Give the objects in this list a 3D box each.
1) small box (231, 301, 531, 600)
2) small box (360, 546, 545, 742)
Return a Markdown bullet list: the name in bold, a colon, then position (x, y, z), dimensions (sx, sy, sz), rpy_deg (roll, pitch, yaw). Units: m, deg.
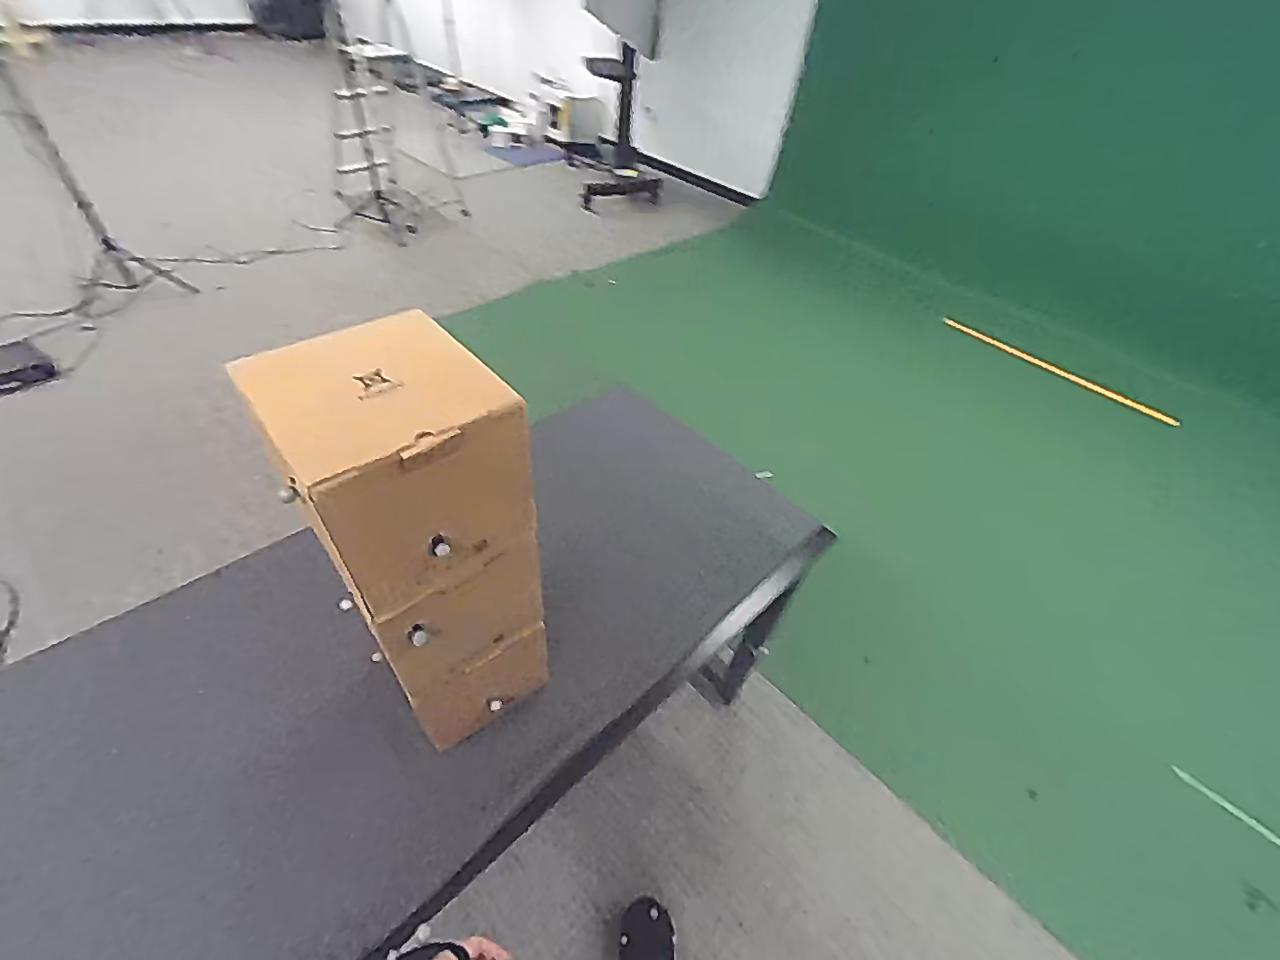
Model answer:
- **small box**: position (-0.214, -0.030, 0.480), dimensions (0.168, 0.176, 0.179), rpy_deg (-31, 56, -32)
- **small box**: position (-0.239, 0.201, 0.709), dimensions (0.168, 0.176, 0.179), rpy_deg (-27, 54, -29)
